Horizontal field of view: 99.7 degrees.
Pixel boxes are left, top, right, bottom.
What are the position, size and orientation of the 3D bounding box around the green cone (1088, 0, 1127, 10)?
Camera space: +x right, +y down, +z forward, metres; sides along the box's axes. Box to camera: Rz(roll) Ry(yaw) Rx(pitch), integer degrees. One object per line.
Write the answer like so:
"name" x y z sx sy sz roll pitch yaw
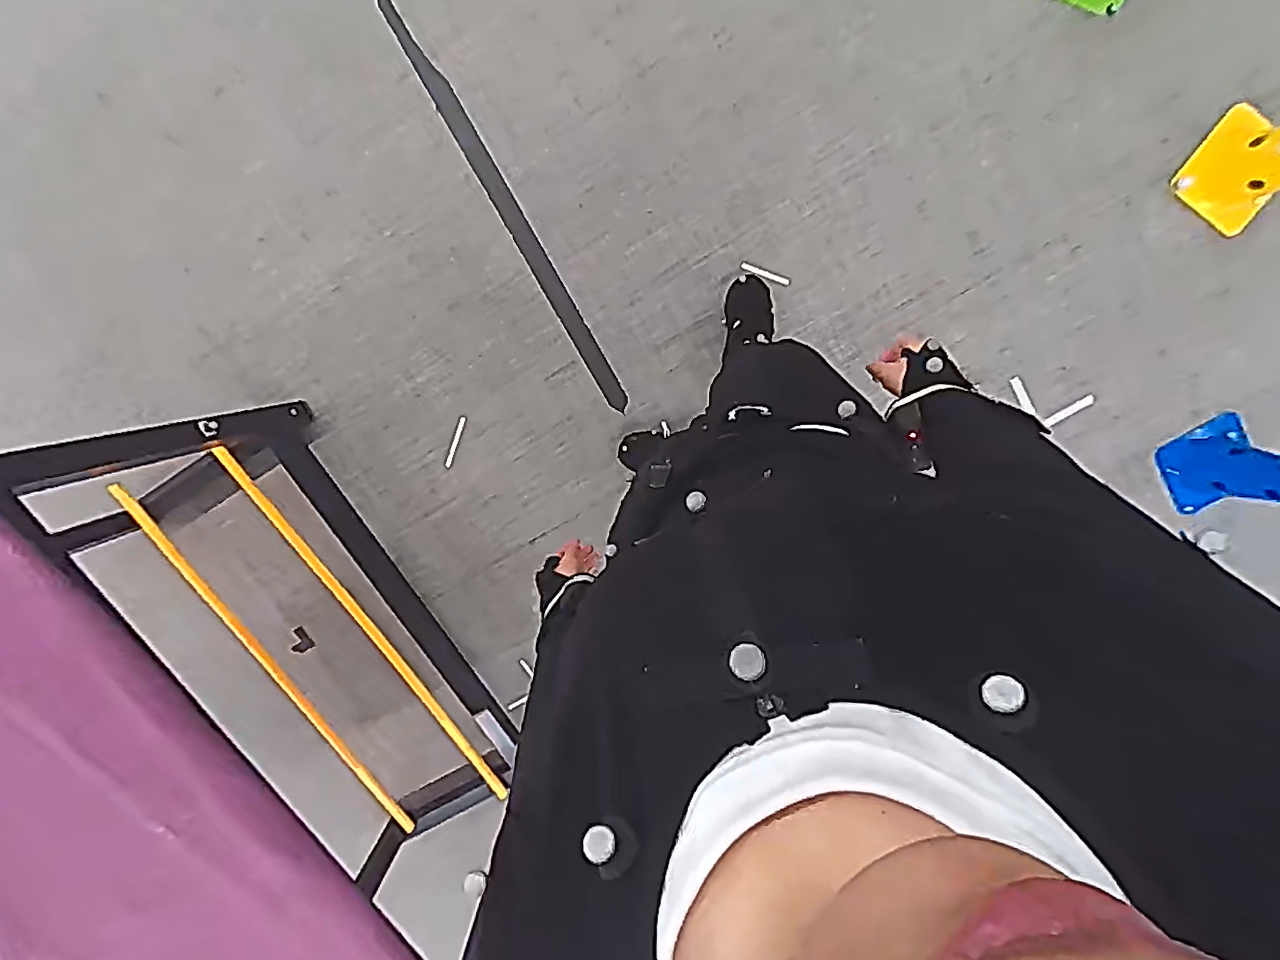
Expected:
"green cone" 0.913 -1.036 0.908 0.202 0.368 0.200 20 103 -2
